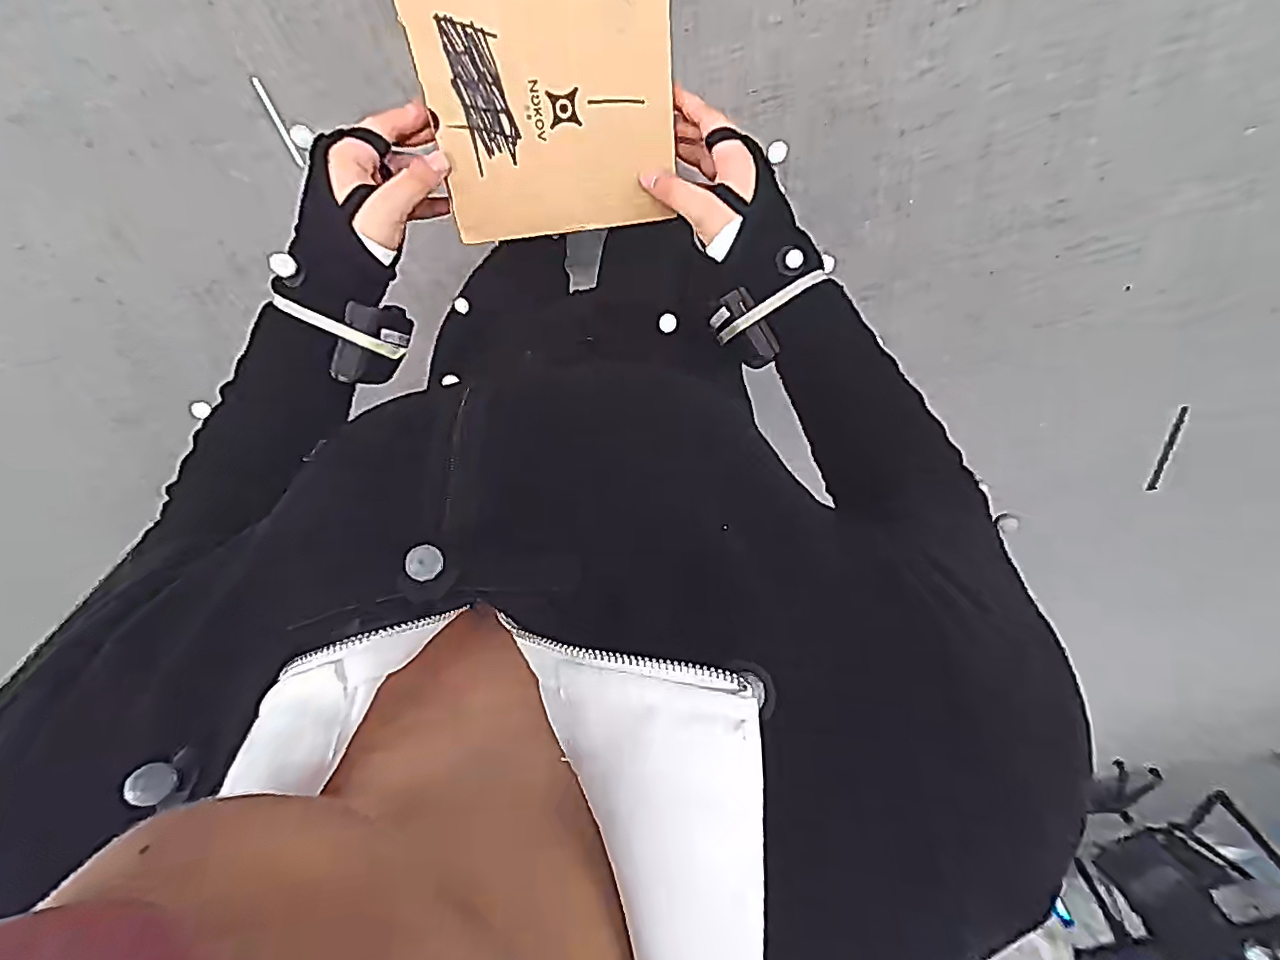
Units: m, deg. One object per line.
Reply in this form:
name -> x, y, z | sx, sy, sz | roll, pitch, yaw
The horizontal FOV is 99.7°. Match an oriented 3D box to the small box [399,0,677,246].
small box -> -0.071, -0.308, 0.447 | 0.179, 0.176, 0.168 | -9, 129, -4
